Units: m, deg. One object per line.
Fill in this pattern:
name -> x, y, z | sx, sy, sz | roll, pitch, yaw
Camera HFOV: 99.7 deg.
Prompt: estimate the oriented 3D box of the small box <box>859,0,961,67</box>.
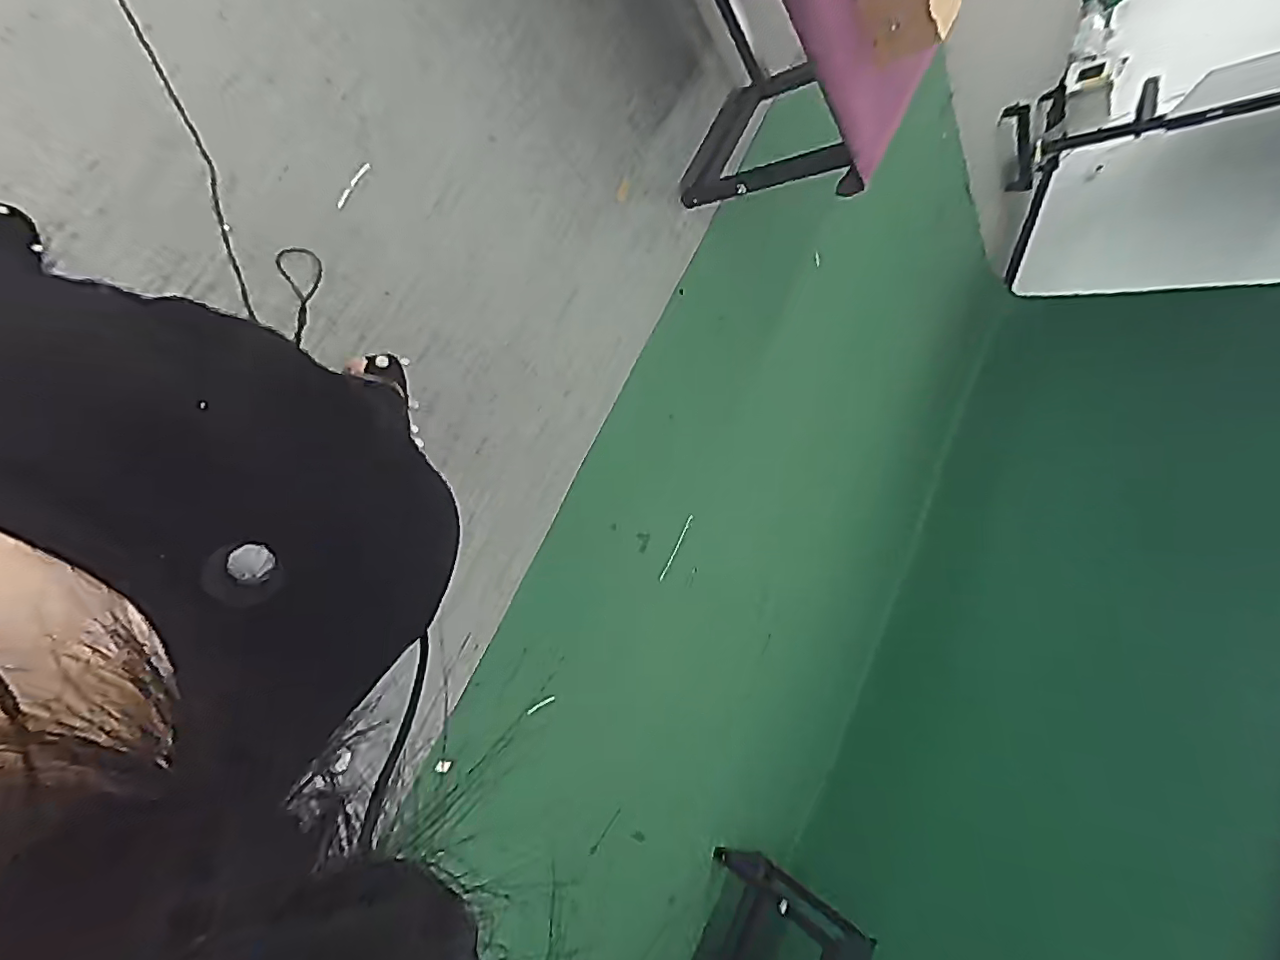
small box -> 0.665, -1.181, 1.342 | 0.168, 0.176, 0.179 | 44, 70, -41
